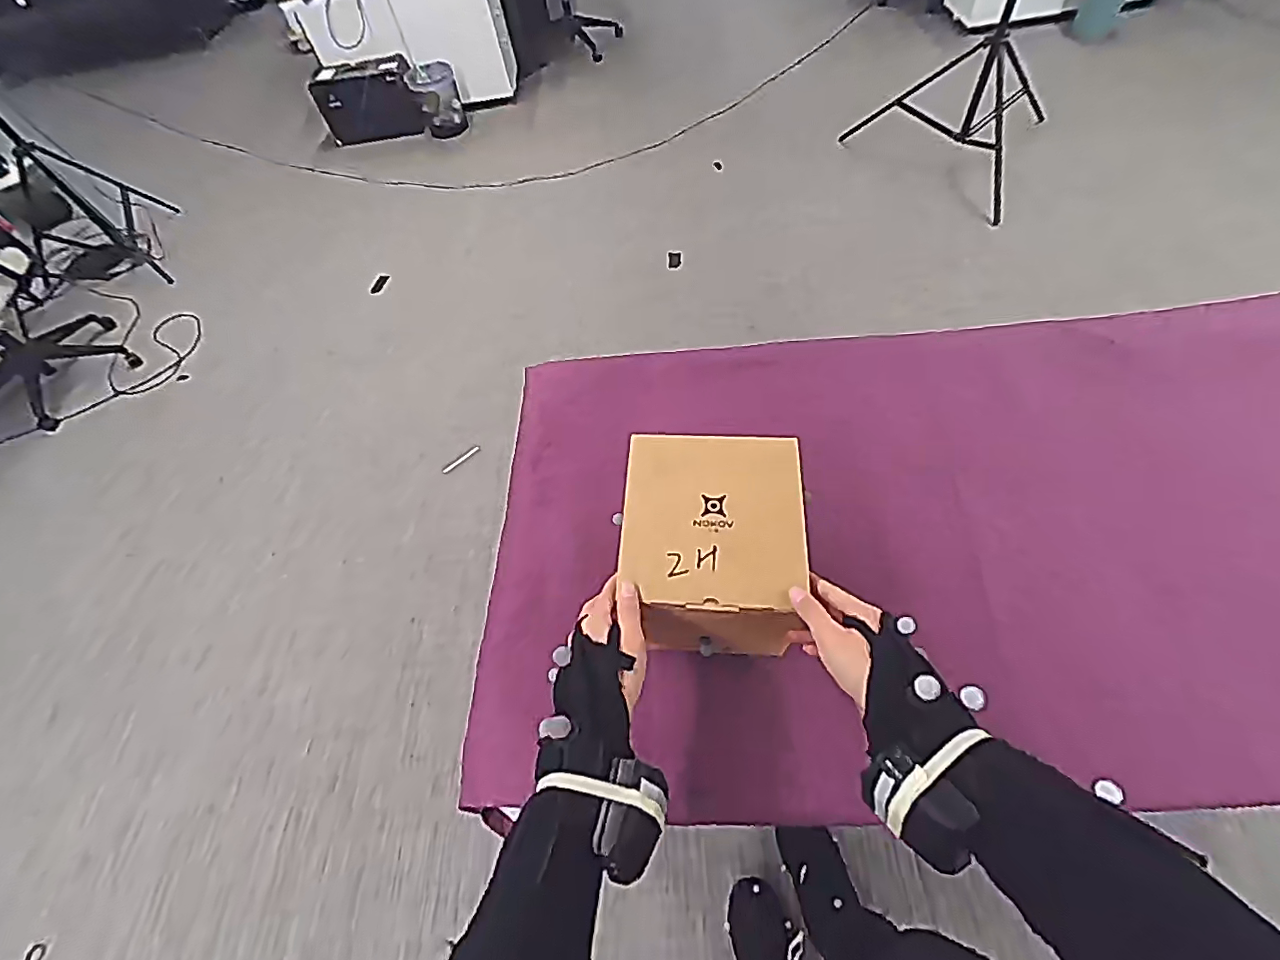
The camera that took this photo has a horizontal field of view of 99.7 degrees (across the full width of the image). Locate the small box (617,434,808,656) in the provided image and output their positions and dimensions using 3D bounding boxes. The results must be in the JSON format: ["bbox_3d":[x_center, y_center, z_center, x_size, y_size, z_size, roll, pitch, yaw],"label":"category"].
[{"bbox_3d":[0.072,0.072,0.568,0.168,0.176,0.179,2,60,6],"label":"small box"}]
